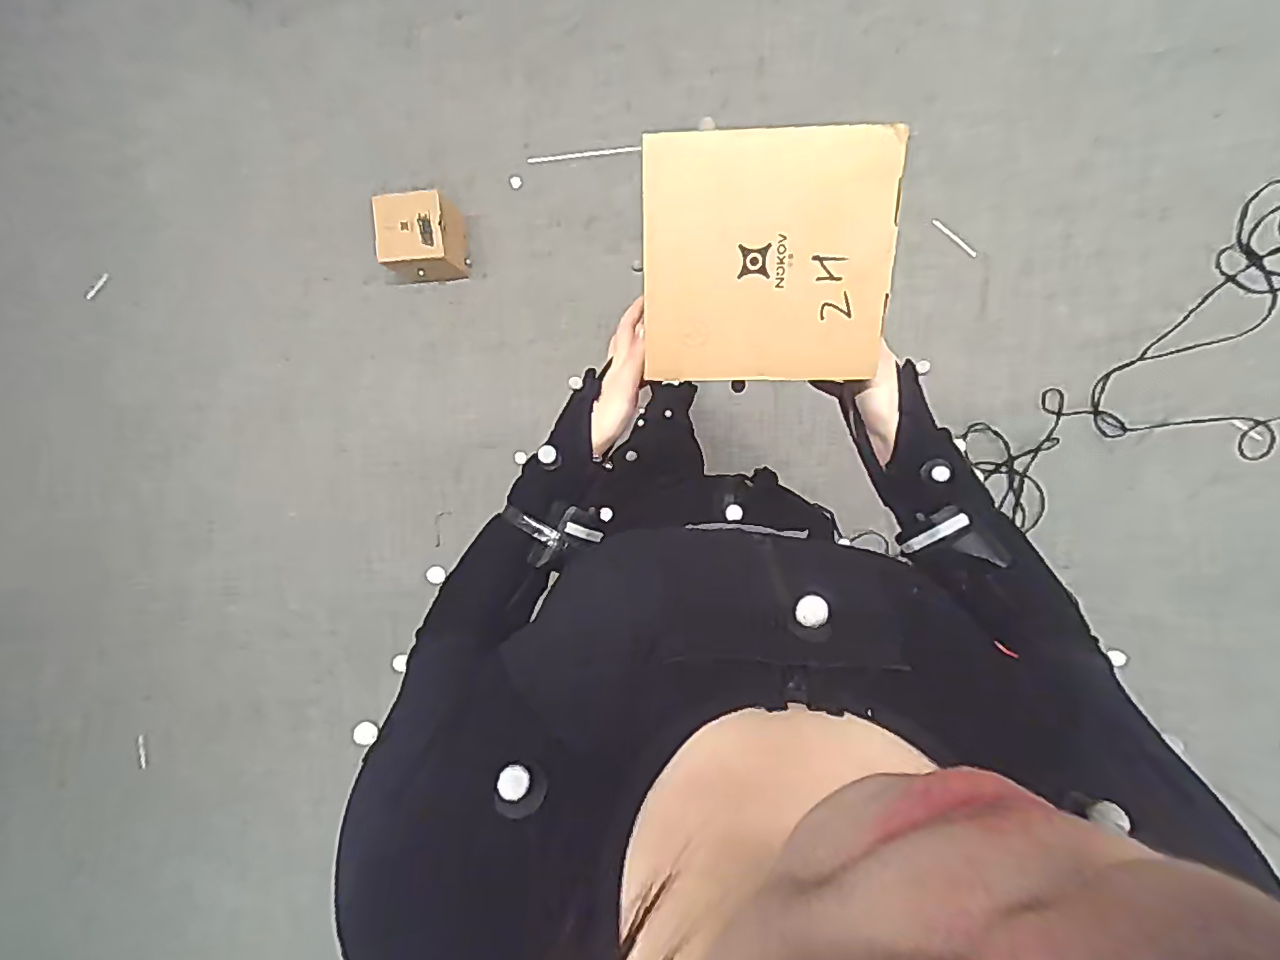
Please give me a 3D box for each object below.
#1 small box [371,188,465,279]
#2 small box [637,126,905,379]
[{"bbox_3d":[-0.567,-0.633,1.406,0.179,0.176,0.168,-2,94,5],"label":"small box"},{"bbox_3d":[0.092,-0.180,0.455,0.179,0.176,0.168,0,110,3],"label":"small box"}]
